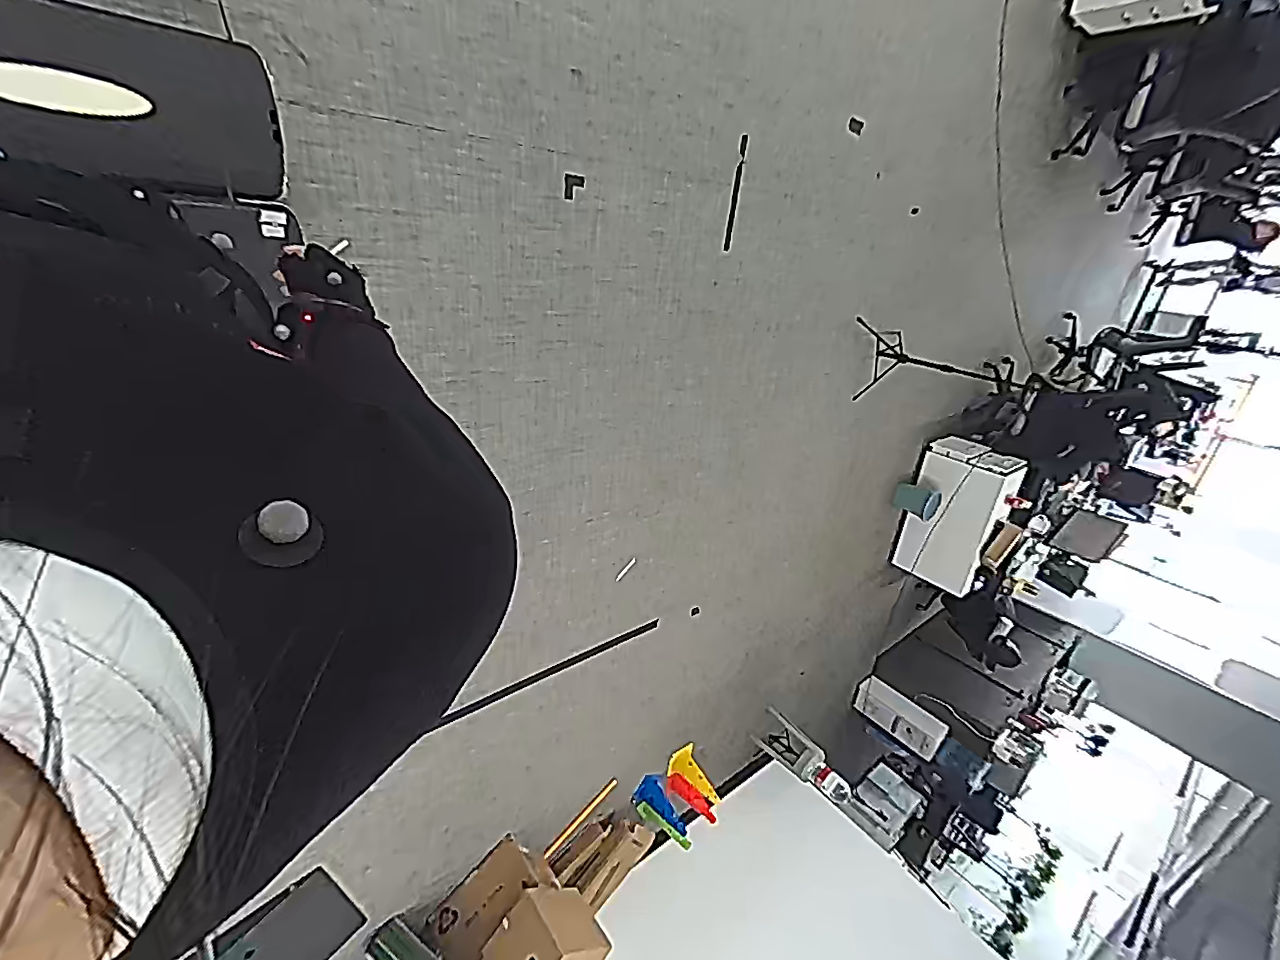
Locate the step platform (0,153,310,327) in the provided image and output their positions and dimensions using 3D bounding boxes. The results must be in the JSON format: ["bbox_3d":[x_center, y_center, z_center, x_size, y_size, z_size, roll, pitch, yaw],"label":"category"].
[{"bbox_3d":[-1.042,-0.455,1.050,0.684,0.204,0.286,-14,120,-35],"label":"step platform"}]
